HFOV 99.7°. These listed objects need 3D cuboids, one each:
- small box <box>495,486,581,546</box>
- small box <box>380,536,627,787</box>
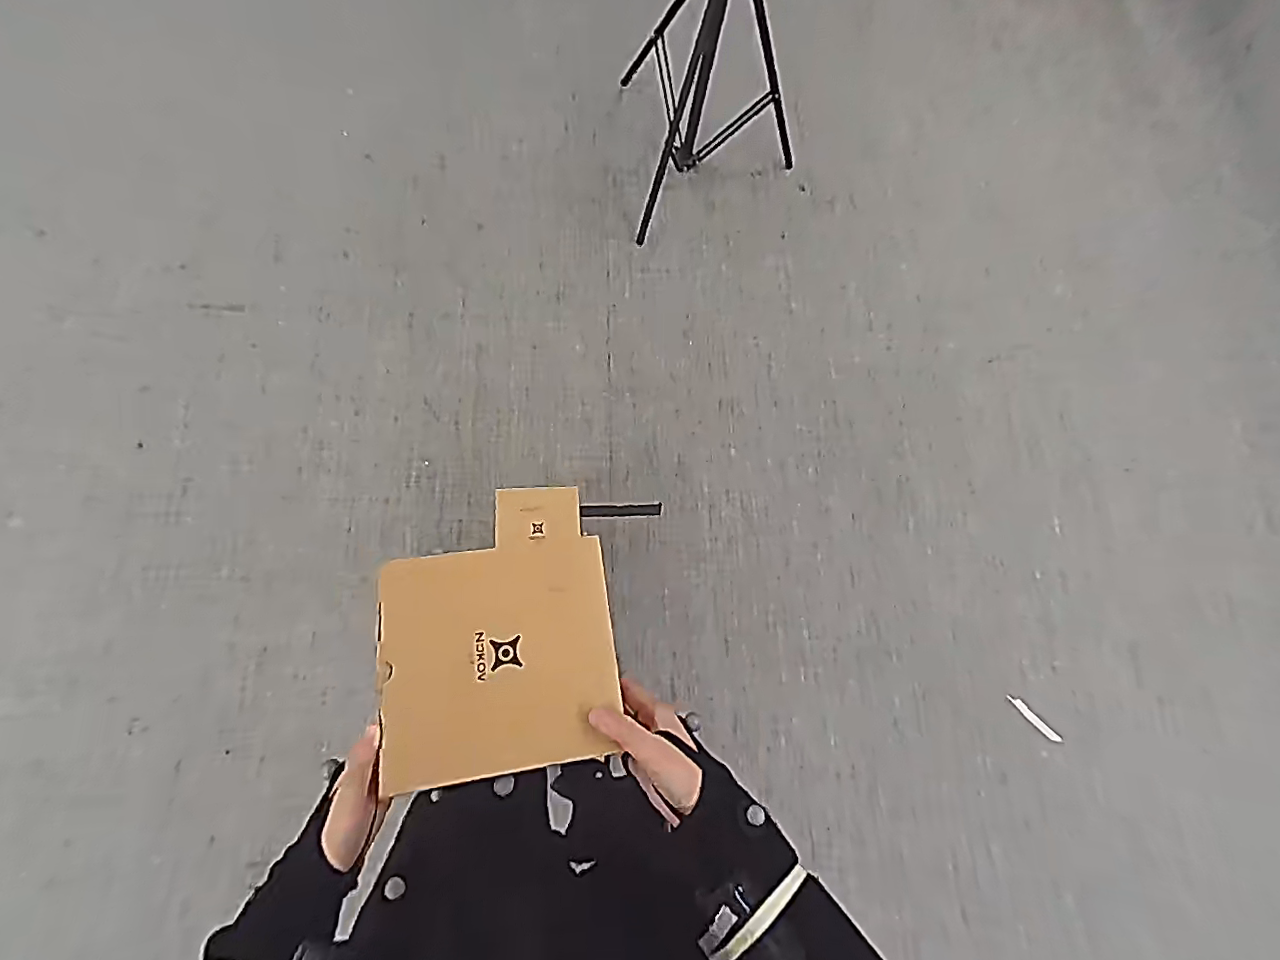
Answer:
[{"bbox_3d":[-0.207,0.118,1.131,0.168,0.176,0.179,-2,75,-7],"label":"small box"},{"bbox_3d":[-0.114,0.156,0.487,0.179,0.176,0.168,-6,70,-8],"label":"small box"}]
